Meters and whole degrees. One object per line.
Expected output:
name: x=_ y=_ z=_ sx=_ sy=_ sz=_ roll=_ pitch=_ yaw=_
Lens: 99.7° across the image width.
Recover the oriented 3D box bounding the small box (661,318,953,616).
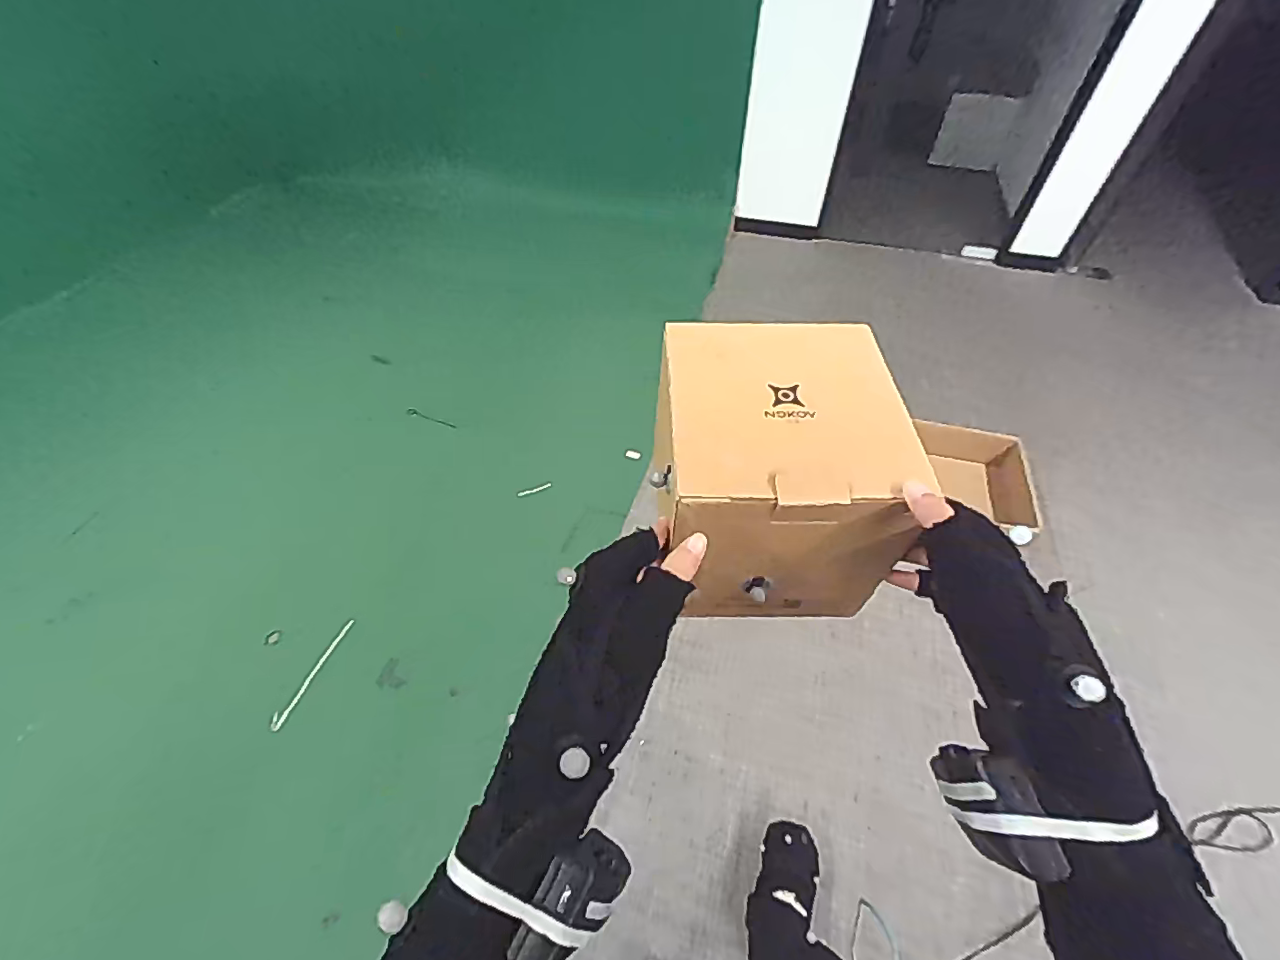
small box: x=0.105 y=-0.007 z=0.438 sx=0.168 sy=0.176 sz=0.179 roll=1 pitch=53 yaw=-2
